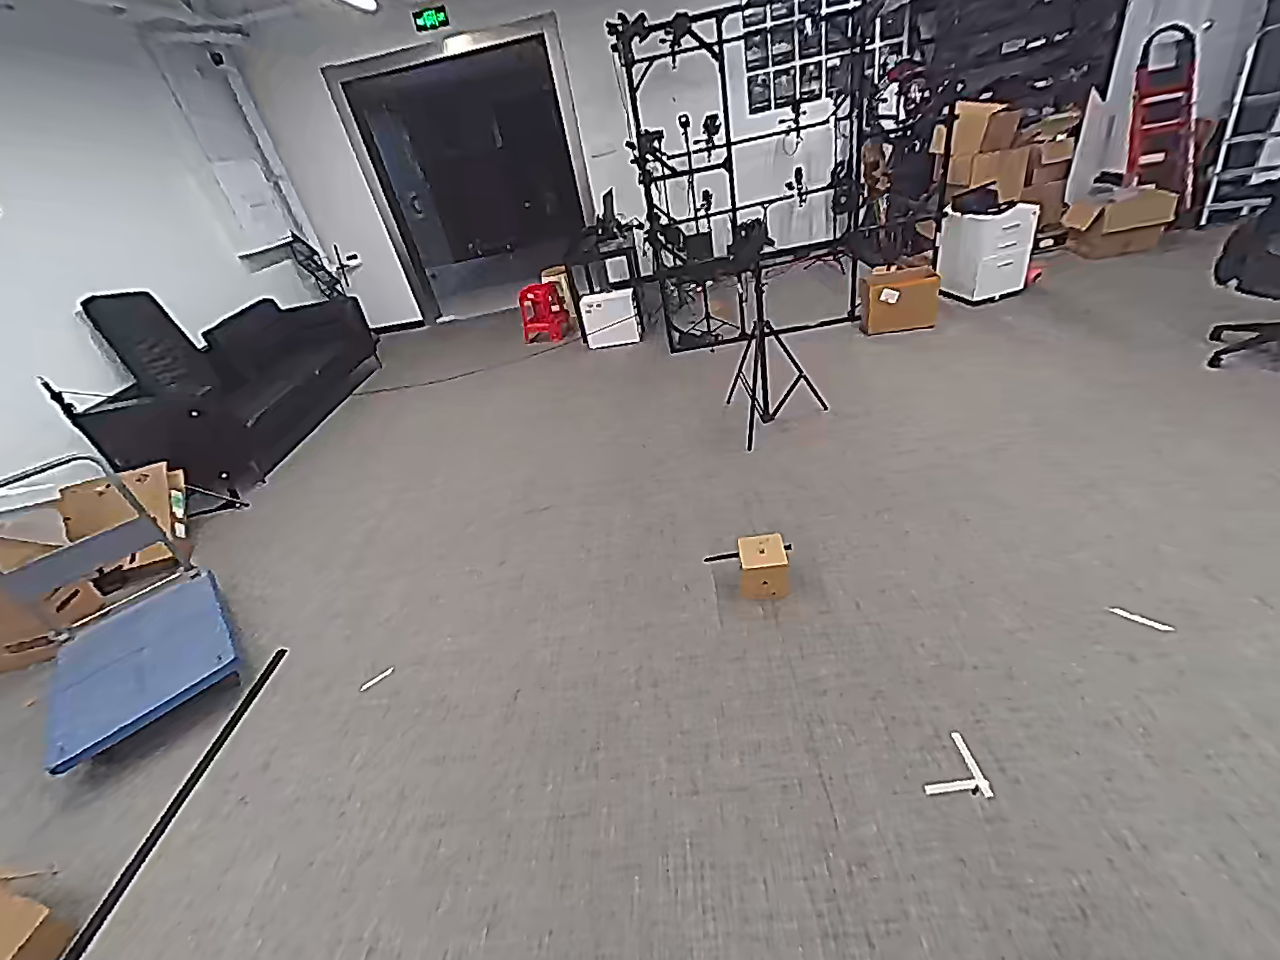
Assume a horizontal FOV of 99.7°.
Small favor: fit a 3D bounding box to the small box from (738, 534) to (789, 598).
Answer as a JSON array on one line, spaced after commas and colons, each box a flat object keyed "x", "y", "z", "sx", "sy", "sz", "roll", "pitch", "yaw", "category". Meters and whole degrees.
[{"x": 0.469, "y": 0.333, "z": 2.059, "sx": 0.168, "sy": 0.176, "sz": 0.179, "roll": -7, "pitch": 33, "yaw": 8, "category": "small box"}]
